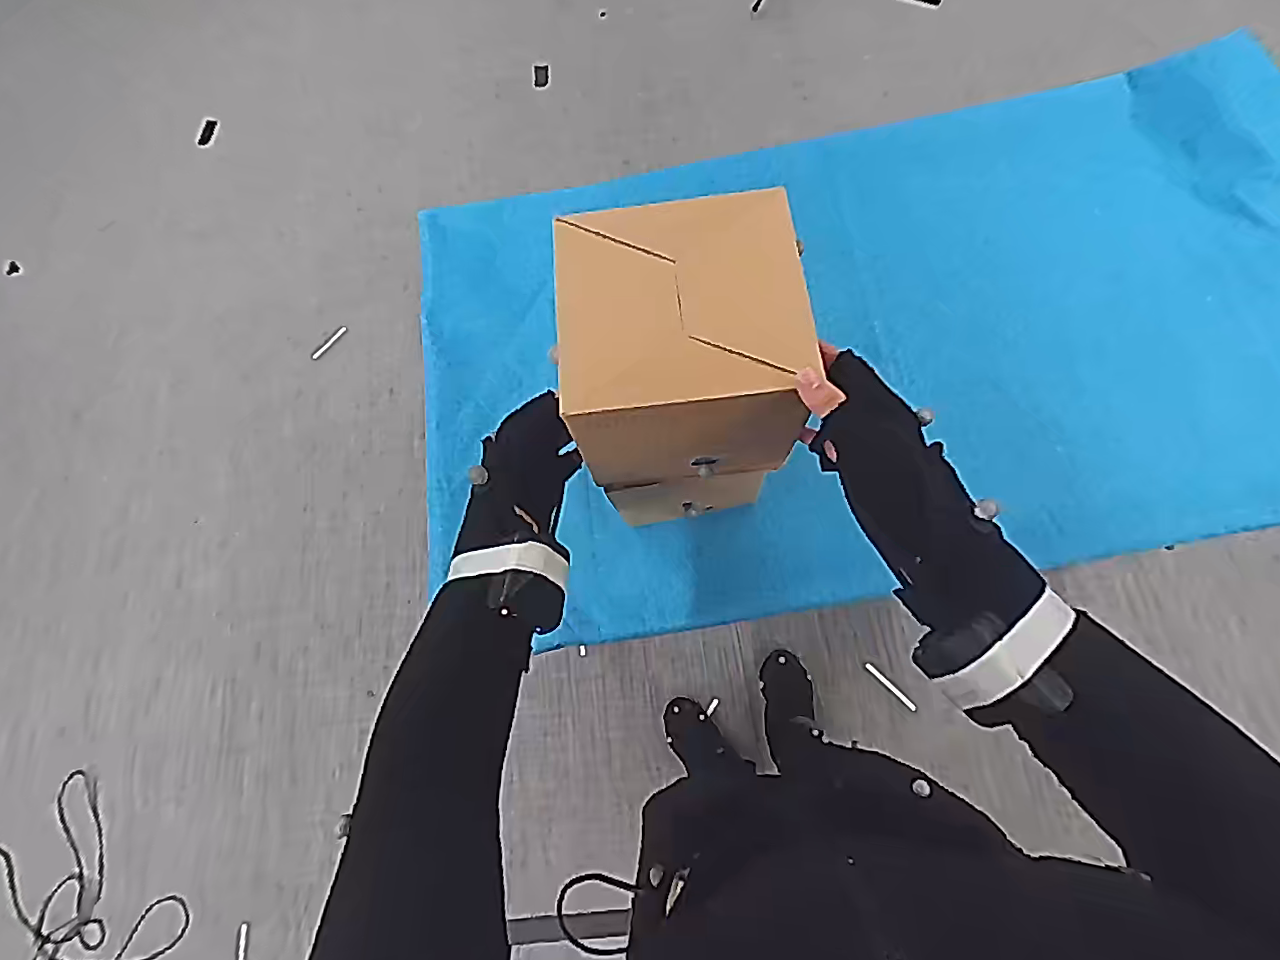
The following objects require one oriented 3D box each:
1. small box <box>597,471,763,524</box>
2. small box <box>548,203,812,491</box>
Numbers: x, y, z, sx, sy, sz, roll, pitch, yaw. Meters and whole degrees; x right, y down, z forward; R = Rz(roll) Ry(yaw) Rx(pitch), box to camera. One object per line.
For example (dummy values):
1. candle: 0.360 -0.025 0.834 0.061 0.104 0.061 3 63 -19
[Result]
1. small box: 0.041 -0.056 0.627 0.168 0.176 0.179 -9 75 6
2. small box: 0.032 -0.100 0.454 0.179 0.176 0.168 -6 72 3
